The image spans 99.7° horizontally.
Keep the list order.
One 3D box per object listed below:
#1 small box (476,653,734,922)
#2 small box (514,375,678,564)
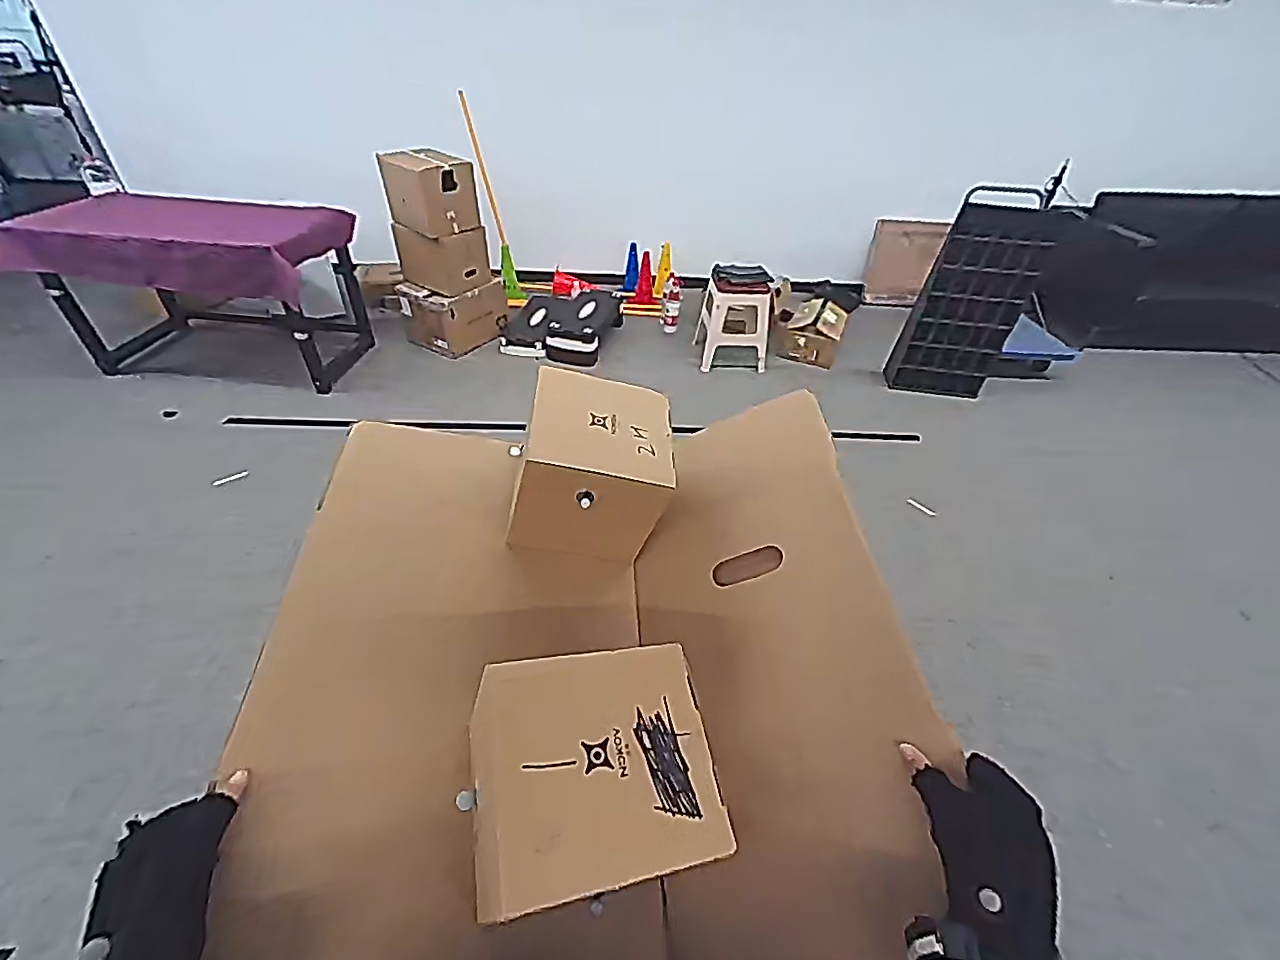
[{"bbox_3d":[-0.047,0.271,0.485,0.179,0.176,0.168,1,51,-22],"label":"small box"},{"bbox_3d":[-0.063,-0.007,0.717,0.179,0.176,0.168,12,48,-14],"label":"small box"}]
